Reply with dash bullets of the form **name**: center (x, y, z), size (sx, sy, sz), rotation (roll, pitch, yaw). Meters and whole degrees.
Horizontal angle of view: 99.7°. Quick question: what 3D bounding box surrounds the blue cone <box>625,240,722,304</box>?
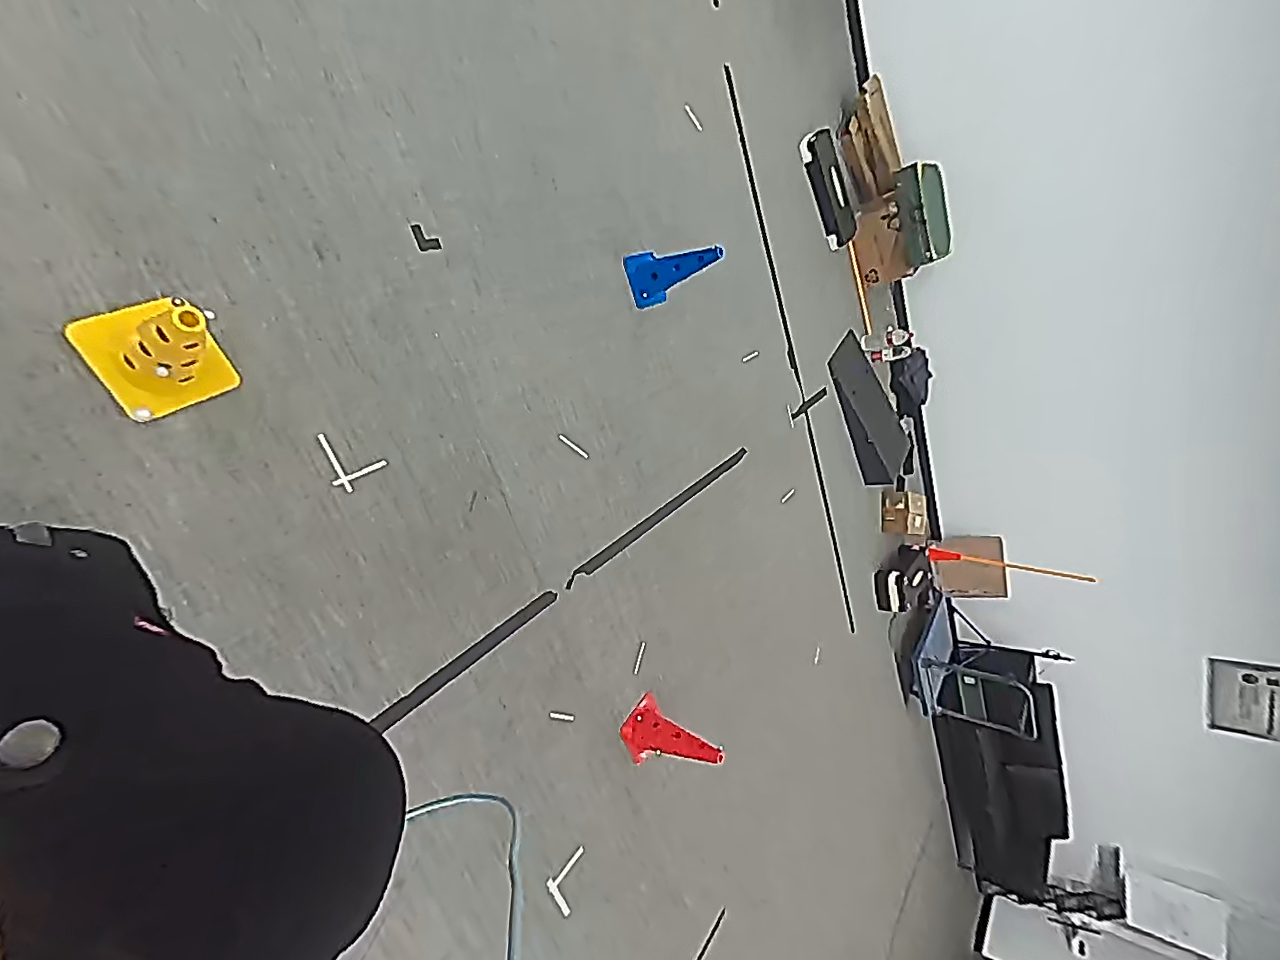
- **blue cone**: center (0.143, -0.801, 2.006), size (0.193, 0.380, 0.192), rotation (-33, 112, -43)

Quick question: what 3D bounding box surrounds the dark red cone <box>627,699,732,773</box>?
- **dark red cone**: center (0.158, 0.958, 1.932), size (0.202, 0.394, 0.201), rotation (-43, 118, -40)
